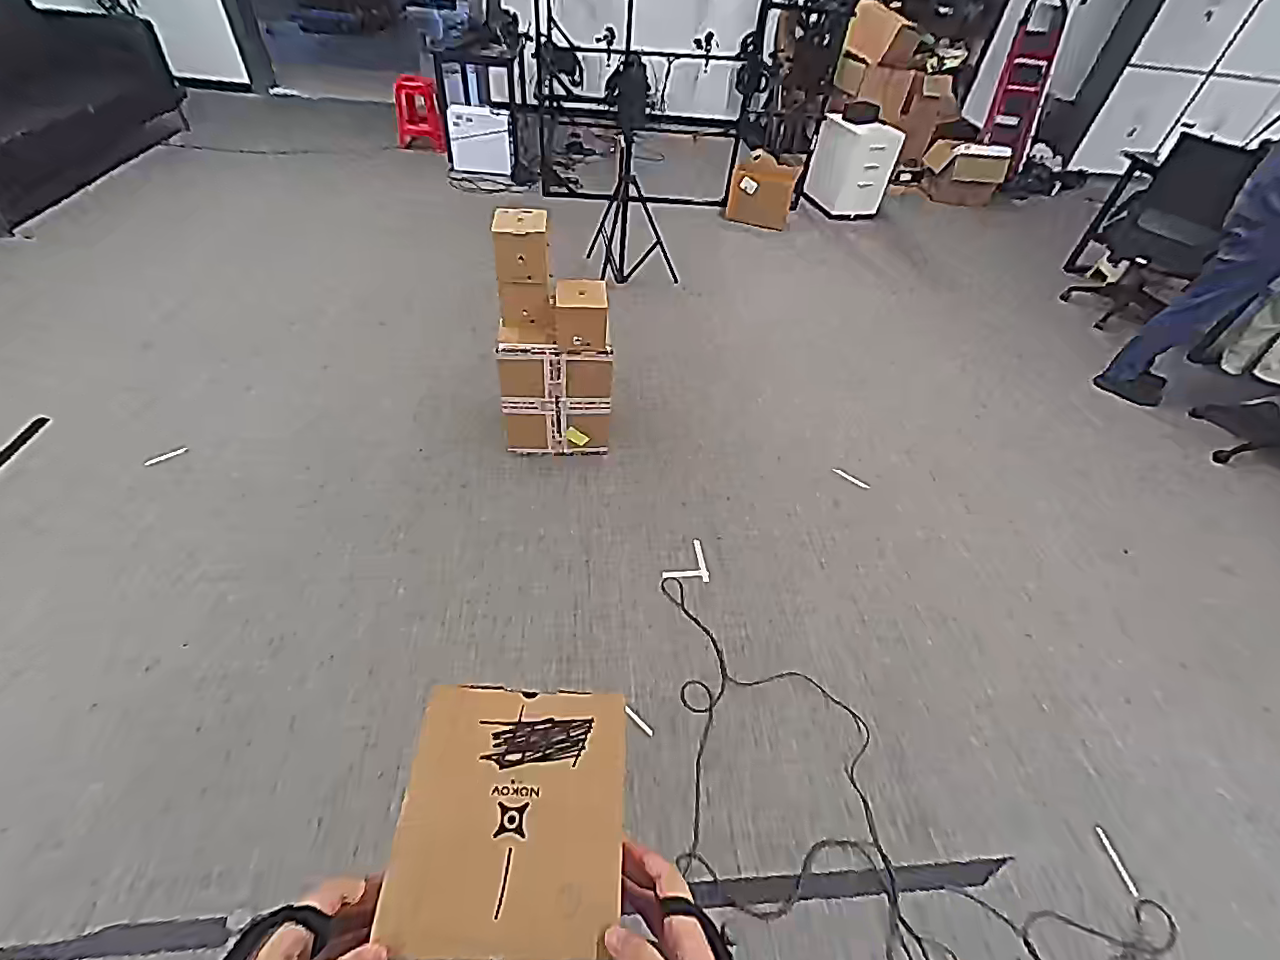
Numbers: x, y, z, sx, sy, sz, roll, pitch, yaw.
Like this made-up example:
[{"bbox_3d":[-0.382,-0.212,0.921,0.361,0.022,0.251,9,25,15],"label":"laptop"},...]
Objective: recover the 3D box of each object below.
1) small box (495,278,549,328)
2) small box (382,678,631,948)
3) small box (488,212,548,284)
[{"bbox_3d":[-0.408,-0.652,1.895,0.168,0.176,0.179,-3,48,-7],"label":"small box"},{"bbox_3d":[-0.100,0.294,0.475,0.168,0.176,0.179,5,51,-5],"label":"small box"},{"bbox_3d":[-0.392,-0.756,1.768,0.168,0.176,0.179,-2,49,-6],"label":"small box"}]
